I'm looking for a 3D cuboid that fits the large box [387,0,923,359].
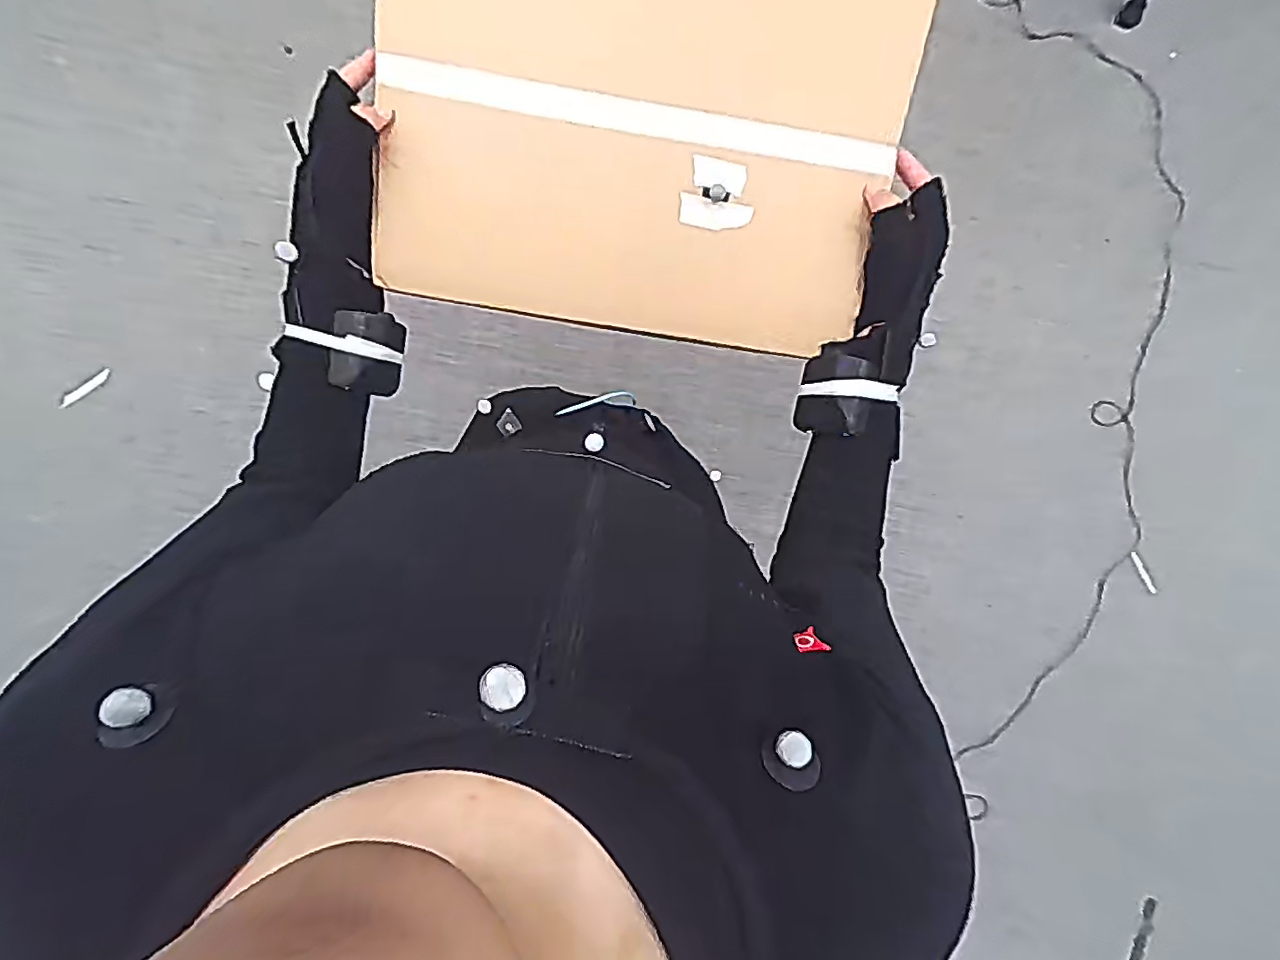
[{"bbox_3d":[-0.003,-0.318,0.573,0.408,0.320,0.320,8,106,-4],"label":"large box"}]
